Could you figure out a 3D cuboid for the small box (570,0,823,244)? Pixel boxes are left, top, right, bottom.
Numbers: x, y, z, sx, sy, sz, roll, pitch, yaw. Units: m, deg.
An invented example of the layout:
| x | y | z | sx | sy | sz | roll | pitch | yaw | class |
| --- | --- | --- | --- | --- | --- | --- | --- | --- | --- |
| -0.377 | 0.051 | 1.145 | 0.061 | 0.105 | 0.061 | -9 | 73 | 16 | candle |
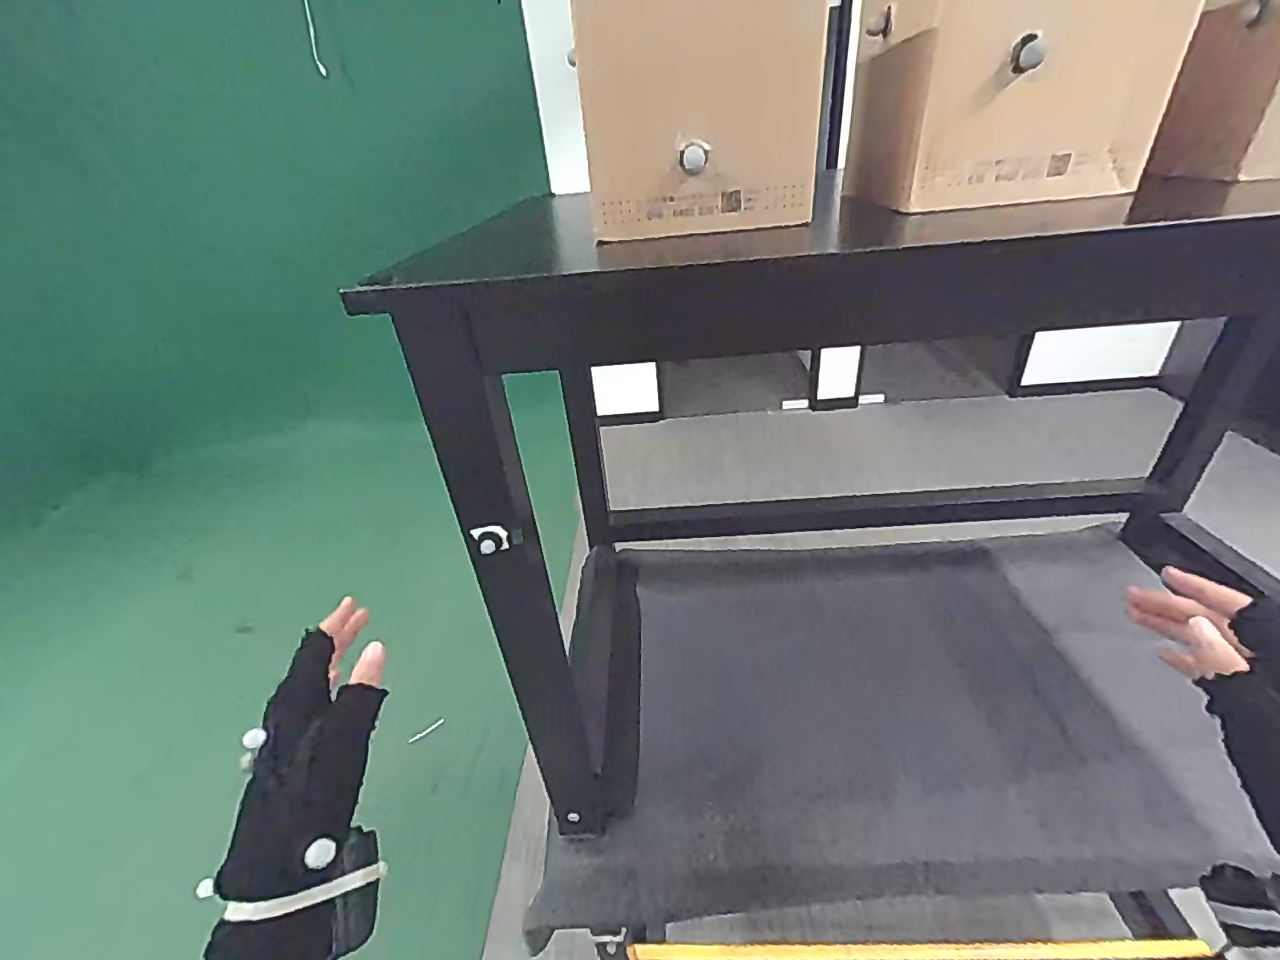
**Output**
| x | y | z | sx | sy | sz | roll | pitch | yaw | class |
| --- | --- | --- | --- | --- | --- | --- | --- | --- | --- |
| 0.040 | -0.300 | 0.450 | 0.168 | 0.176 | 0.179 | -4 | 33 | 2 | small box |
